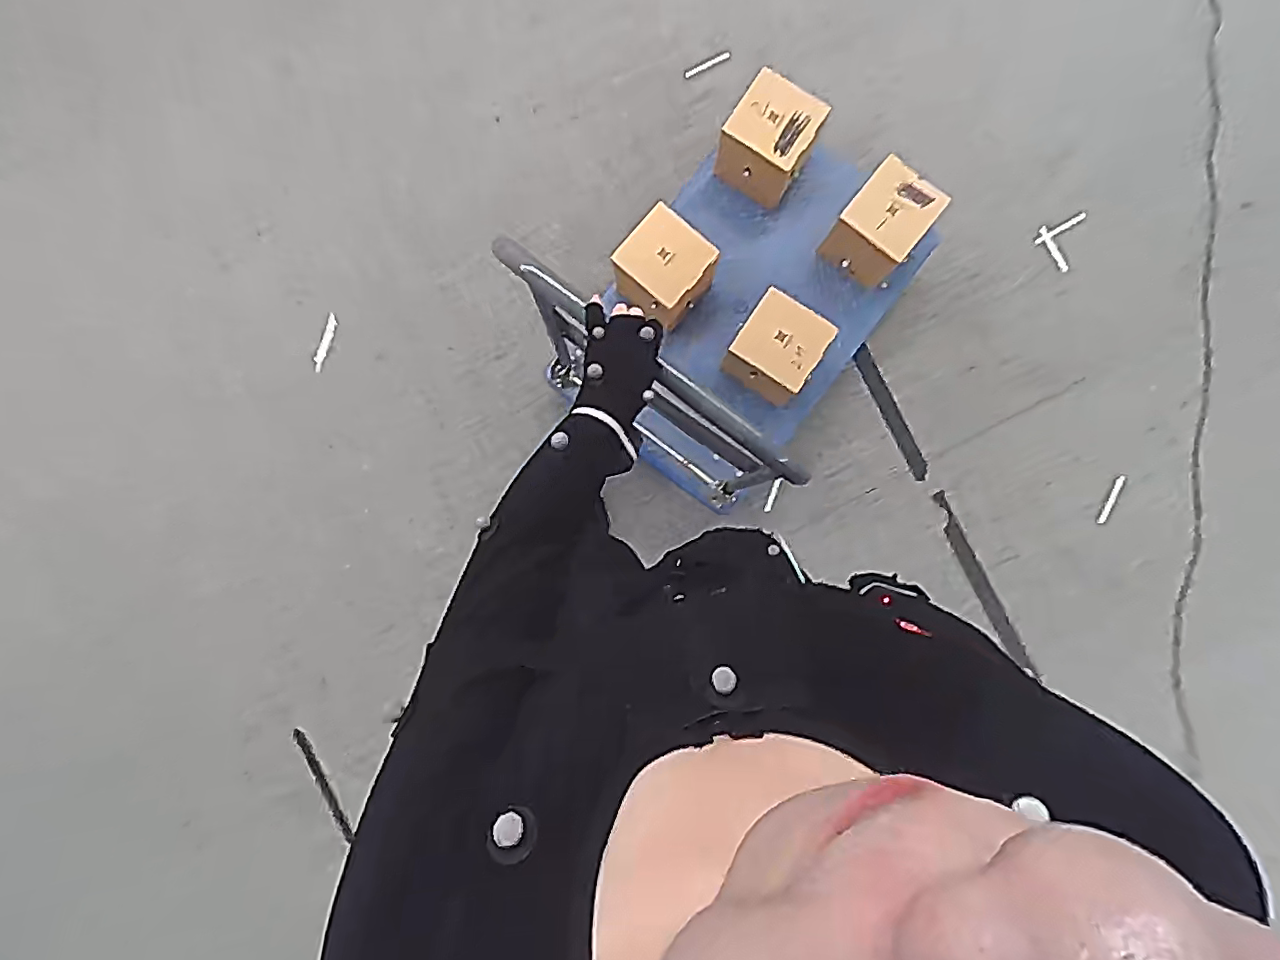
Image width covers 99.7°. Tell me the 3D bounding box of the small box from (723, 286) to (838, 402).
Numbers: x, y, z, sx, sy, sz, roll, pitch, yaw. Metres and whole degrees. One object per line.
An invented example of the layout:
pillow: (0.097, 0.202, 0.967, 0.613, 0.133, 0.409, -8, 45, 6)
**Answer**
small box: (0.305, -0.296, 1.221, 0.179, 0.176, 0.168, 34, 89, 2)

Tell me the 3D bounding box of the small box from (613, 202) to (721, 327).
small box: (0.056, -0.479, 1.233, 0.179, 0.176, 0.168, 41, 89, 0)

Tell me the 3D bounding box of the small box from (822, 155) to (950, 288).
small box: (0.543, -0.574, 1.225, 0.168, 0.176, 0.179, 39, 91, 2)
